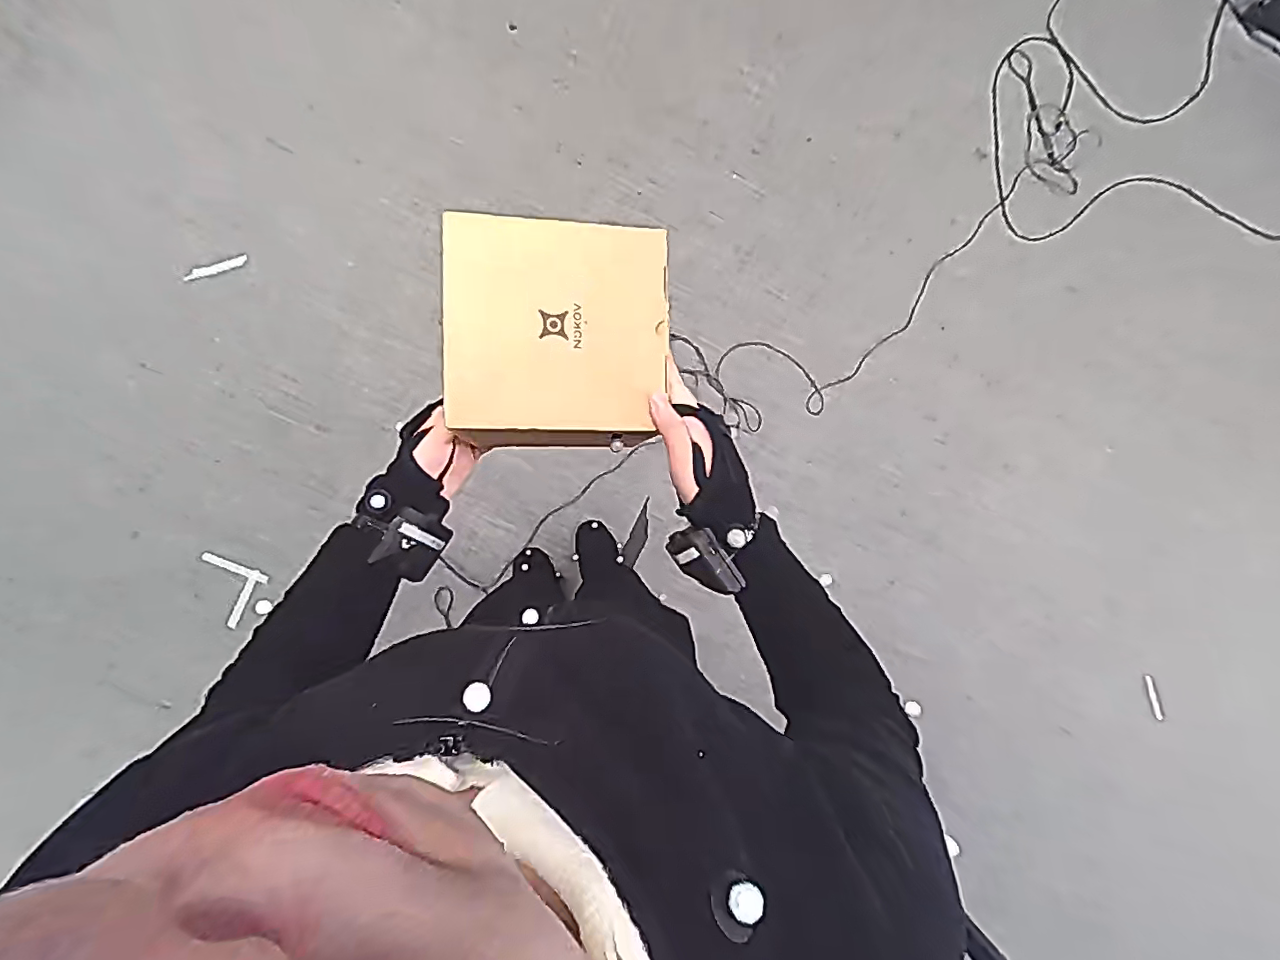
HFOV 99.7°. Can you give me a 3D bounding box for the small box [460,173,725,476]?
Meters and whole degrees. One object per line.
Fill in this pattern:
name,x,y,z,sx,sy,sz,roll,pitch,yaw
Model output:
small box,-0.049,-0.113,0.458,0.168,0.176,0.179,0,72,-29
